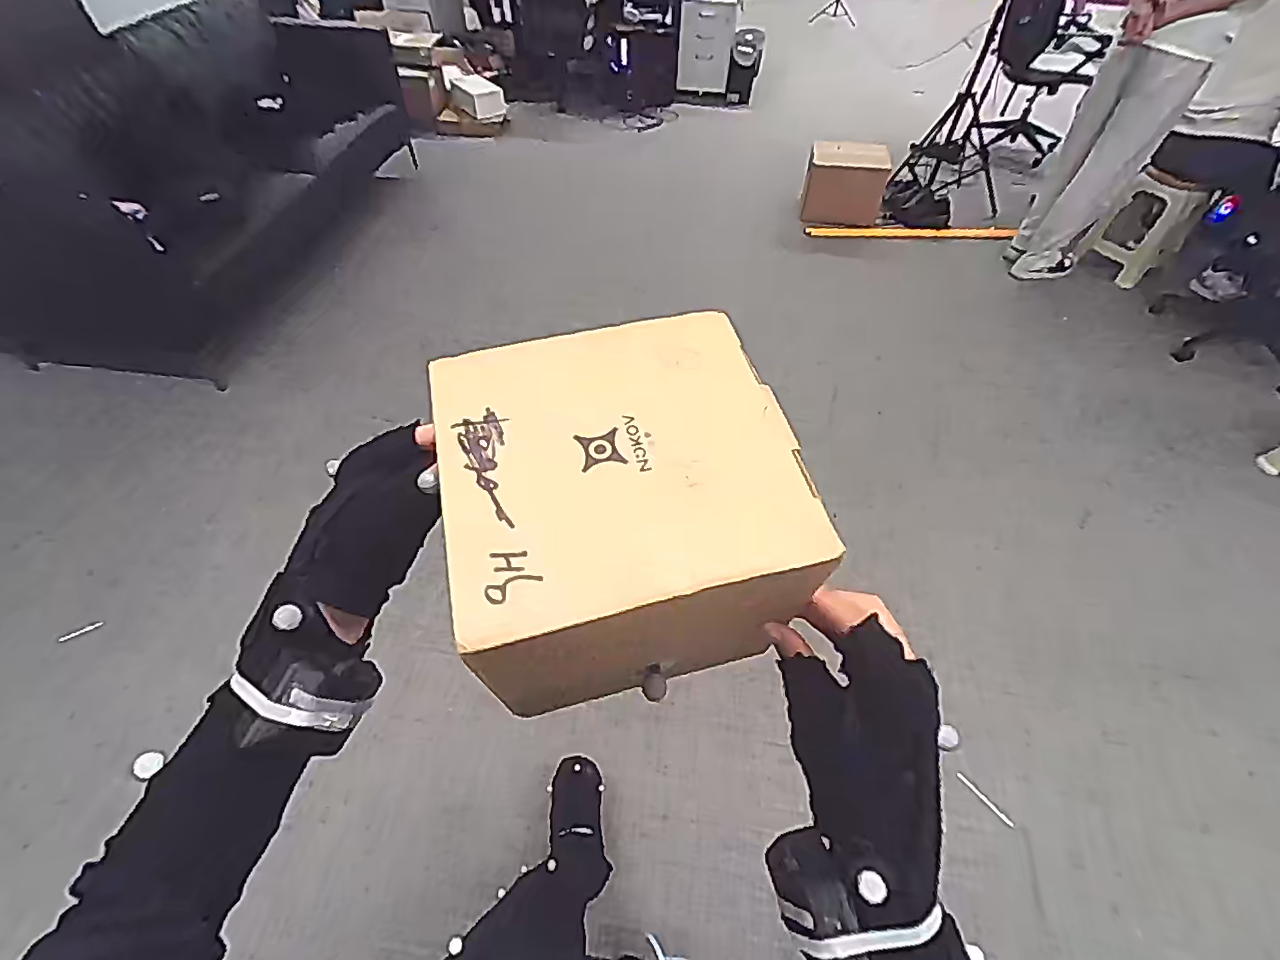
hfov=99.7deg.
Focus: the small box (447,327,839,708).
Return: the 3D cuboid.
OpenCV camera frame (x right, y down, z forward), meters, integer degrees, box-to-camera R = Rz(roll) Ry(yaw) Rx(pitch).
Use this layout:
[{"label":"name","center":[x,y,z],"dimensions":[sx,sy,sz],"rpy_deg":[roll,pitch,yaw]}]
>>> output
[{"label":"small box","center":[-0.011,0.030,0.351],"dimensions":[0.179,0.176,0.168],"rpy_deg":[-12,59,-11]}]
